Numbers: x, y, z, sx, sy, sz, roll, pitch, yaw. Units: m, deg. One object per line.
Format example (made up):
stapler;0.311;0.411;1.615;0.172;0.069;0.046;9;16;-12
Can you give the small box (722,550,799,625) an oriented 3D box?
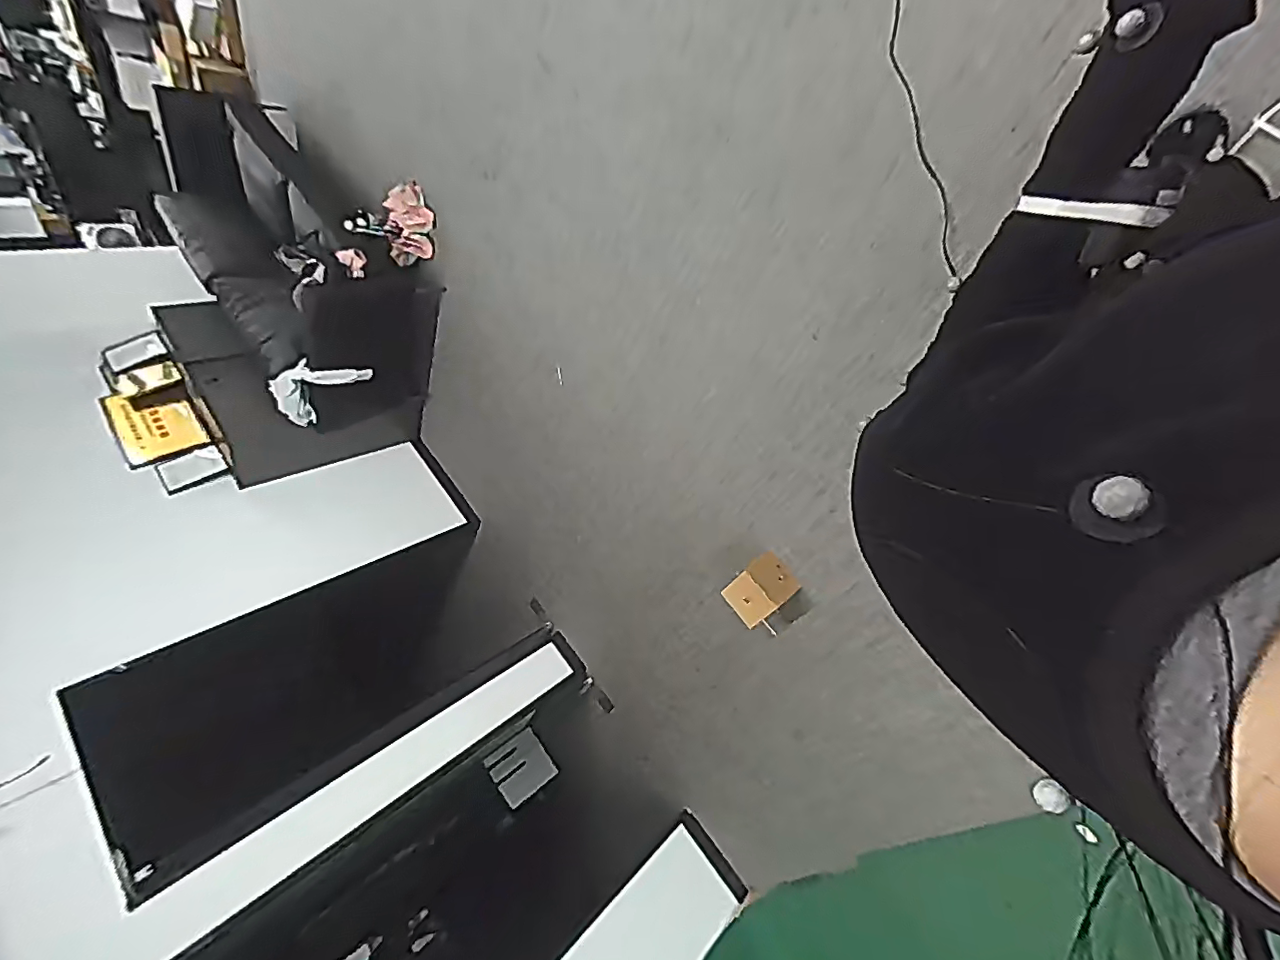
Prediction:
small box;0.437;0.385;1.949;0.168;0.176;0.179;50;136;17
